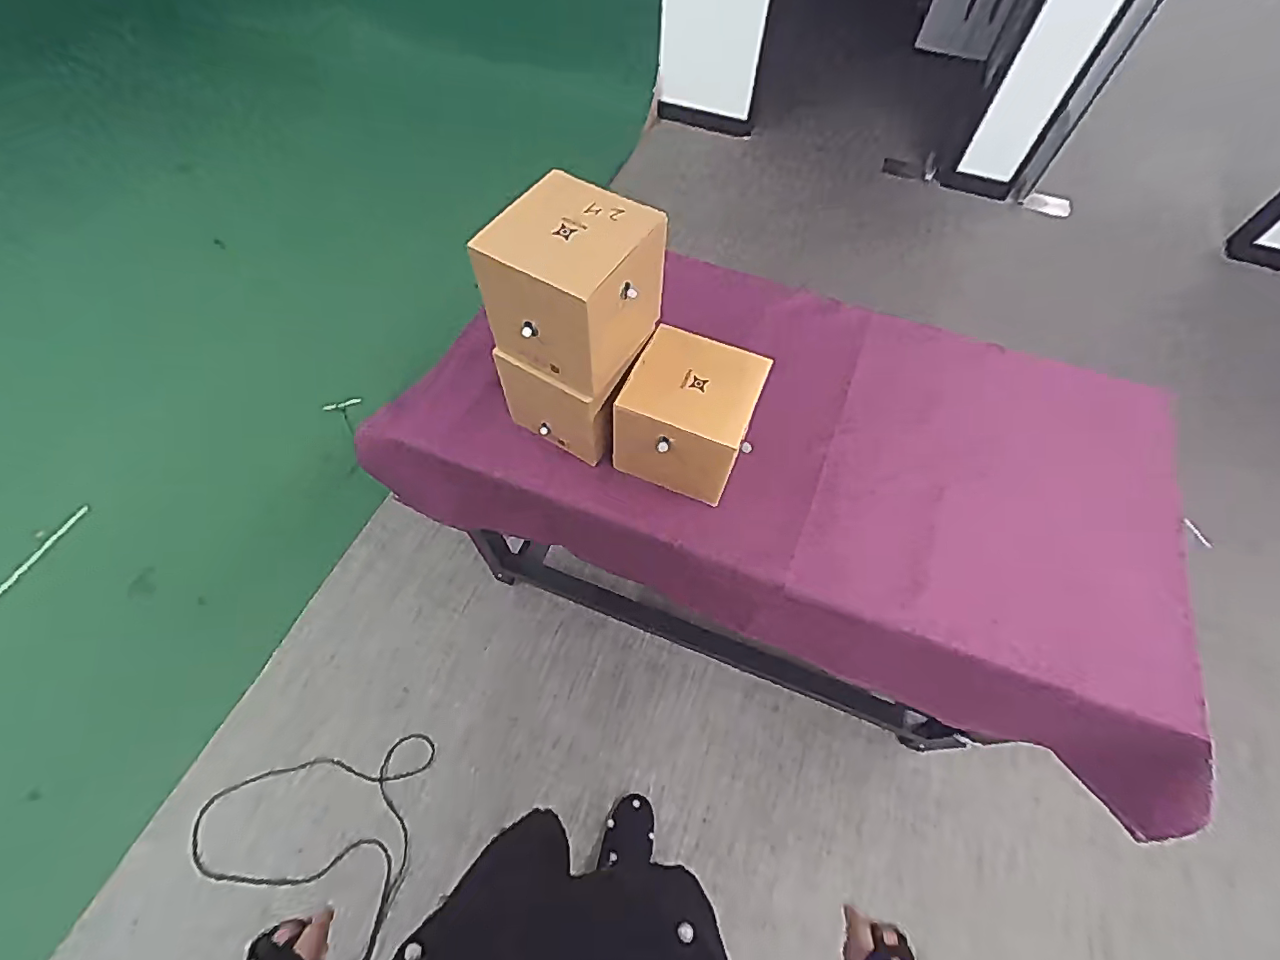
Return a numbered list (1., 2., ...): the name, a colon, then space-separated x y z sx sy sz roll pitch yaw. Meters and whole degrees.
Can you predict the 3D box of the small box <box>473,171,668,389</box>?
1. small box: -0.079 -0.249 0.695 0.168 0.176 0.179 29 63 13
